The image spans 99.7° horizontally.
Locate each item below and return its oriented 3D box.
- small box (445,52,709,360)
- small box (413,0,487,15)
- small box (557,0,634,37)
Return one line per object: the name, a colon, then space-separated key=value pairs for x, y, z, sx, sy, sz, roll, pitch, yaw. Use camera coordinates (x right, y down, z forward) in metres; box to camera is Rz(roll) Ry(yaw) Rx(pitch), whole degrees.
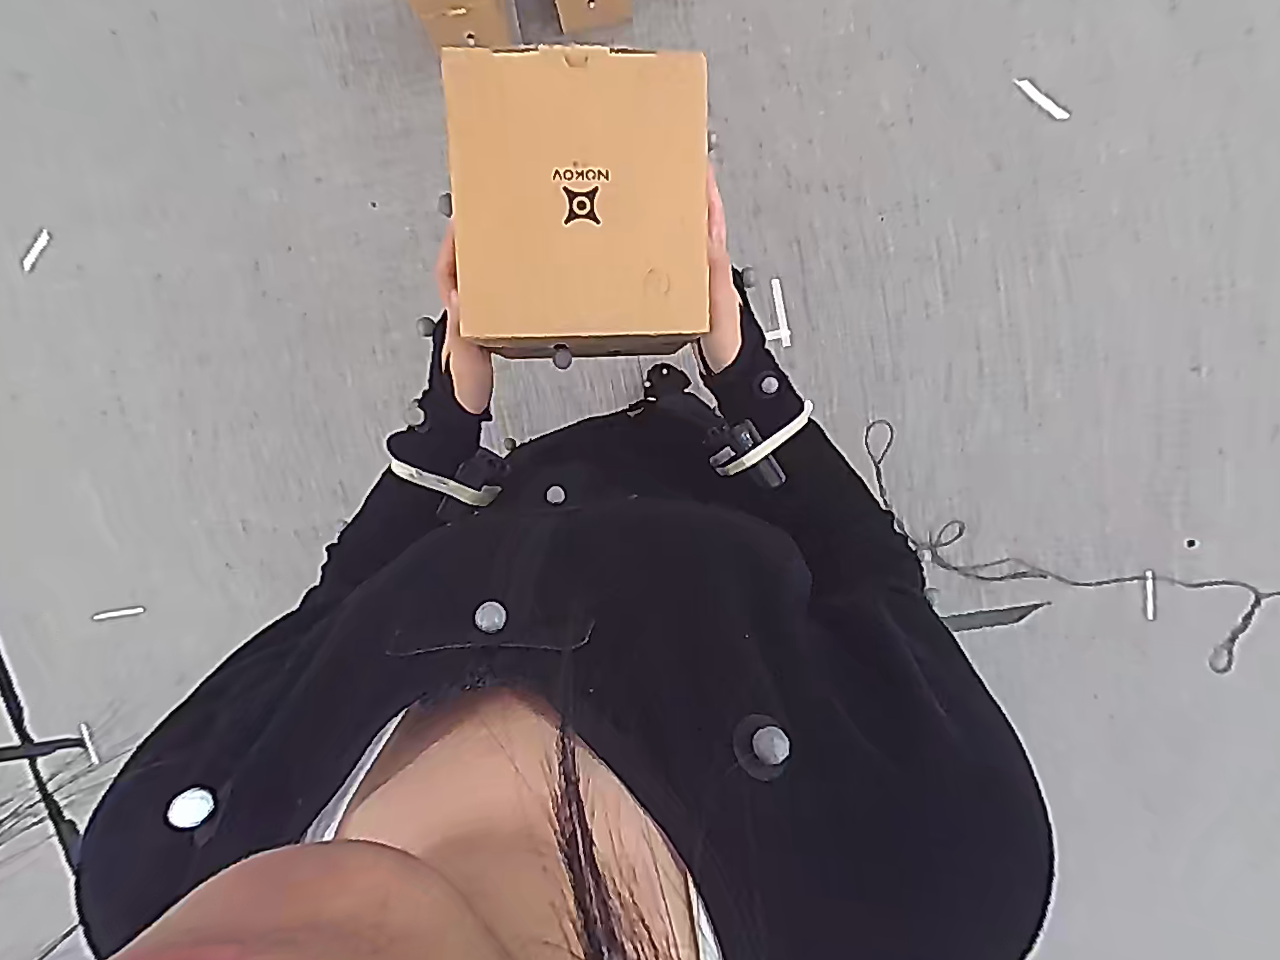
small box: x=-0.041 y=-0.189 z=0.426 sx=0.168 sy=0.176 sz=0.179 roll=-3 pitch=97 yaw=-3
small box: x=-0.406 y=-1.092 z=1.086 sx=0.179 sy=0.176 sz=0.168 roll=-9 pitch=97 yaw=3
small box: x=-0.111 y=-1.165 z=1.233 sx=0.179 sy=0.176 sz=0.168 roll=-10 pitch=98 yaw=4
